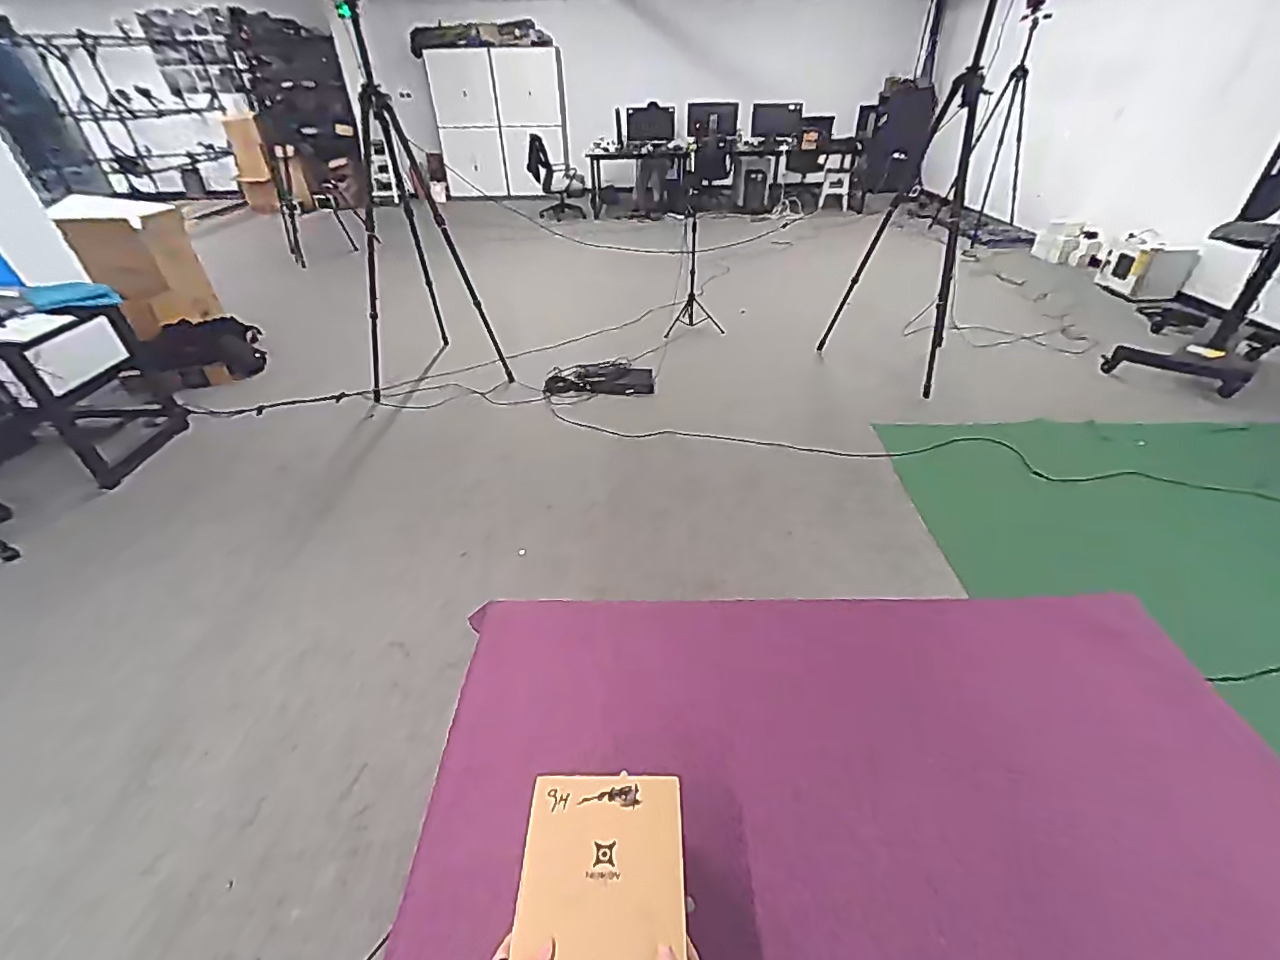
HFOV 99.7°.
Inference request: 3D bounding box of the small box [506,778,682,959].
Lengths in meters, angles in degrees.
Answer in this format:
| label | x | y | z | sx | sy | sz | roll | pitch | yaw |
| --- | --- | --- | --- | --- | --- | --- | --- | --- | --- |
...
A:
| label | x | y | z | sx | sy | sz | roll | pitch | yaw |
| --- | --- | --- | --- | --- | --- | --- | --- | --- | --- |
| small box | -0.037 | 0.459 | 0.598 | 0.168 | 0.176 | 0.179 | 0 | 37 | 2 |
